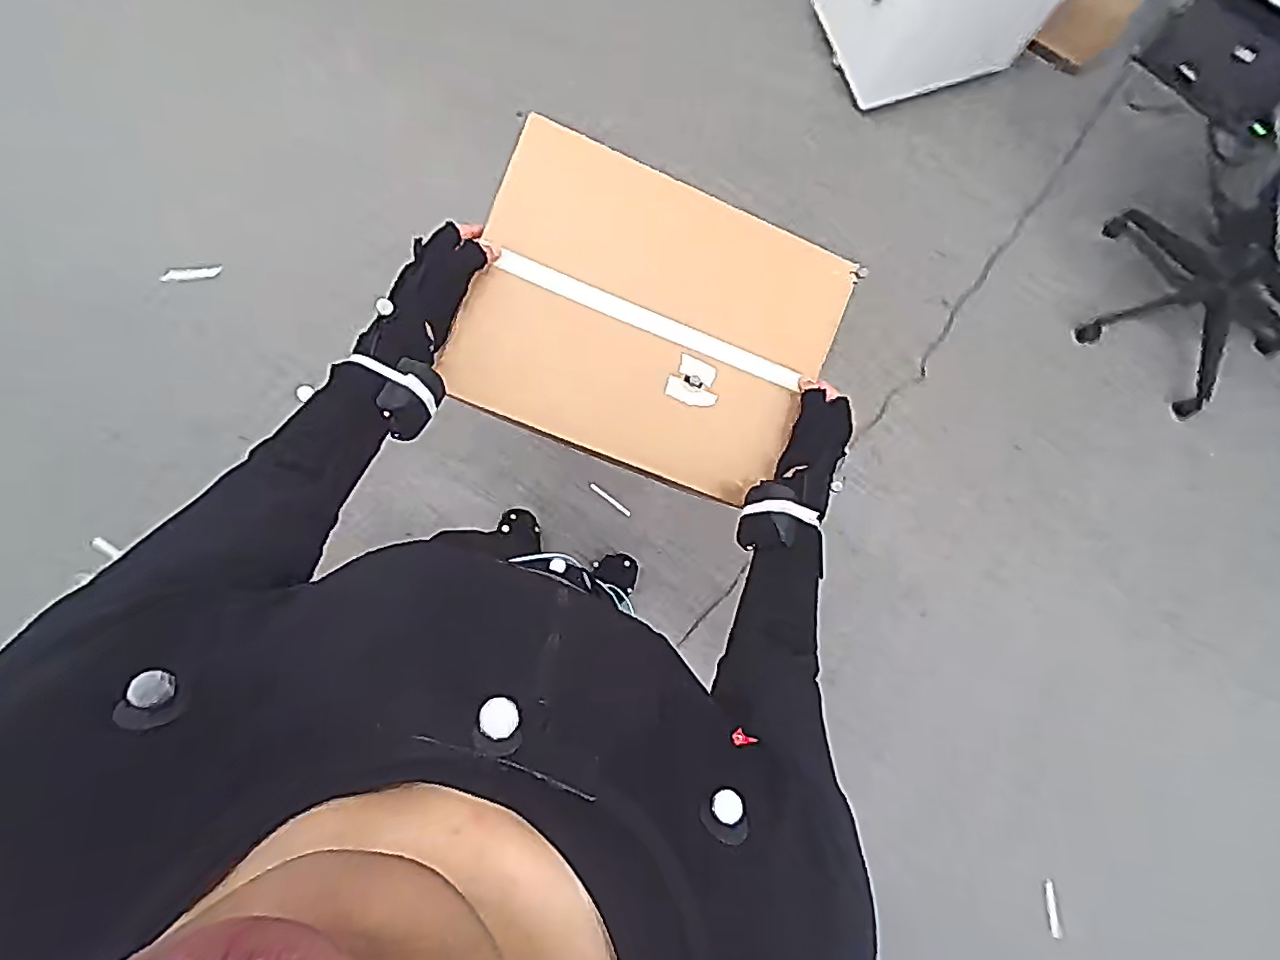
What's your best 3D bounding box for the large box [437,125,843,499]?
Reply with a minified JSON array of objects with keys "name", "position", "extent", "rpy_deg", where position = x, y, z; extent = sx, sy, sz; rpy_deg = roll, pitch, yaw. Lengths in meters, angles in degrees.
[{"name":"large box","position":[-0.011,-0.191,0.764],"extent":[0.408,0.320,0.320],"rpy_deg":[20,91,-8]}]
